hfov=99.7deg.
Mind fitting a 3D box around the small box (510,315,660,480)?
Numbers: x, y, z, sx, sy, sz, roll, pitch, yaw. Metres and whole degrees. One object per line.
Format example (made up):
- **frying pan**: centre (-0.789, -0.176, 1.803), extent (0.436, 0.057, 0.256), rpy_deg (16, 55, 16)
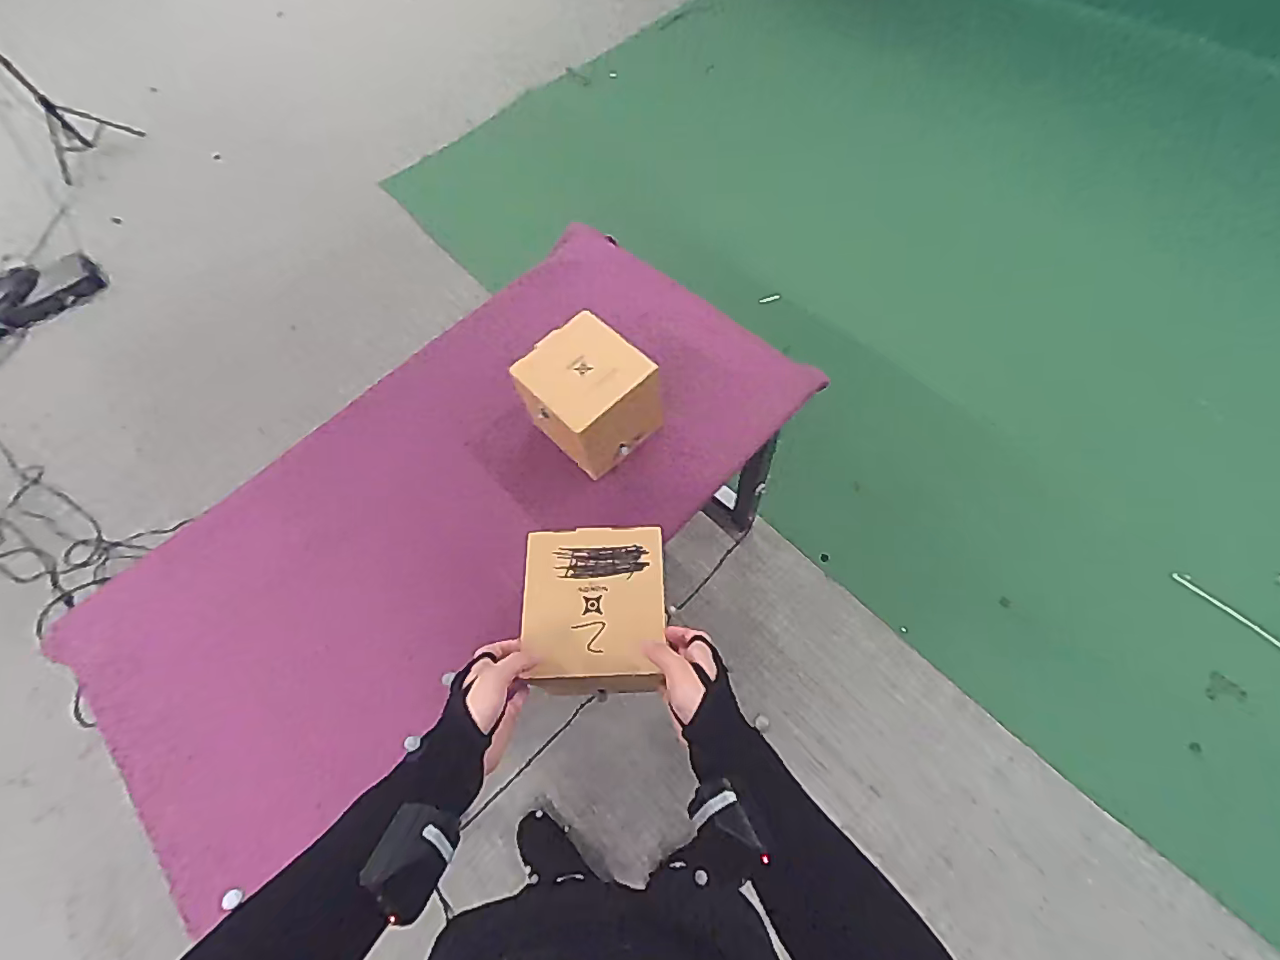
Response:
- **small box**: centre (-0.084, -0.131, 0.905), extent (0.168, 0.176, 0.179), rpy_deg (-41, 67, -13)
